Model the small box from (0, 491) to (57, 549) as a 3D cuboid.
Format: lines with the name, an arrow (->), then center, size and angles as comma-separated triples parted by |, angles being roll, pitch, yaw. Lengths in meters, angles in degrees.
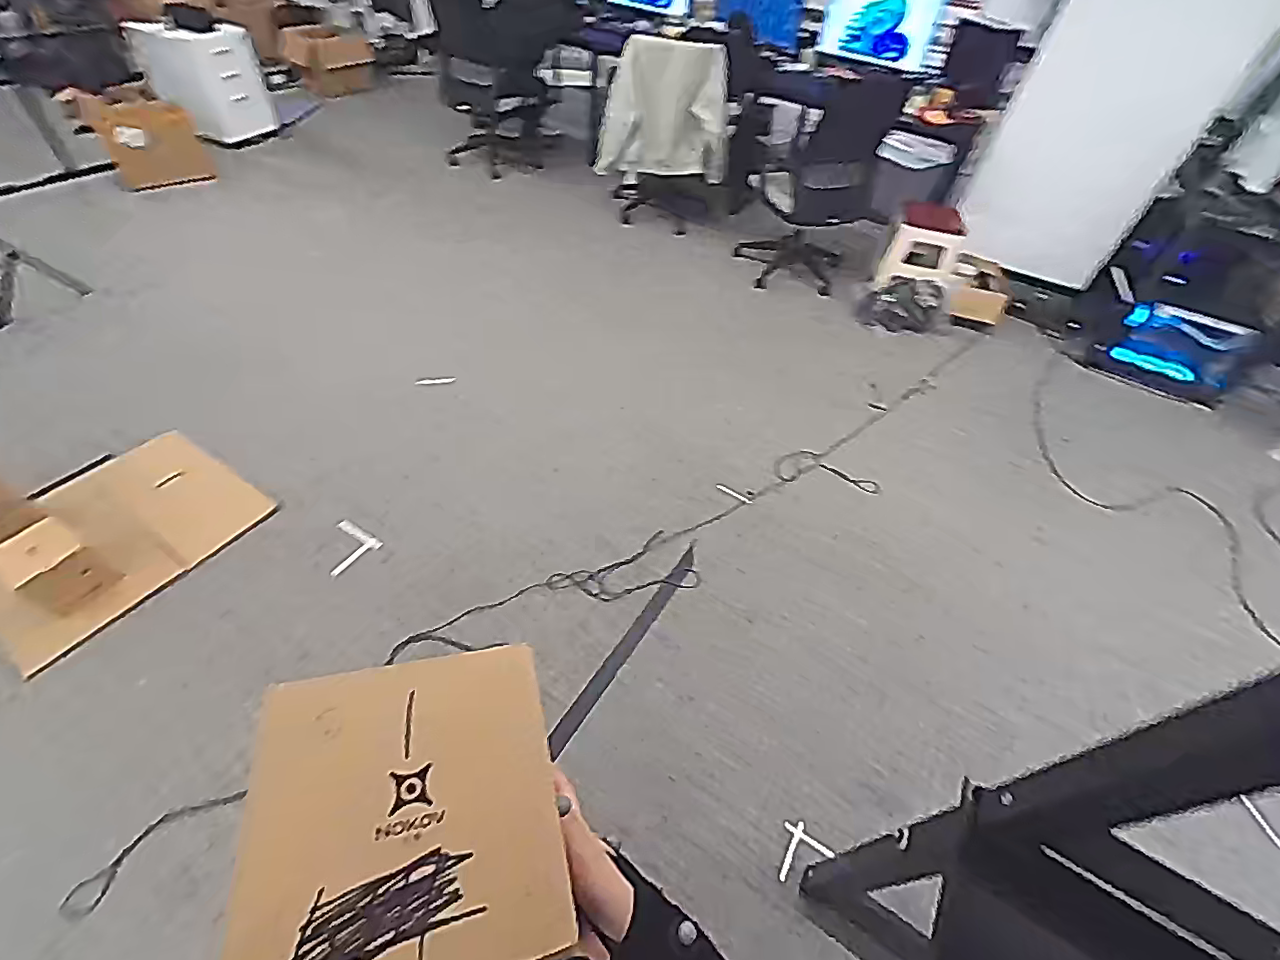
small box -> -1.836, 0.122, 1.565 | 0.179, 0.176, 0.168 | 23, 50, 13

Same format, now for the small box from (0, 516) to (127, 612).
small box -> -1.589, 0.238, 1.490 | 0.179, 0.176, 0.168 | 26, 51, 17

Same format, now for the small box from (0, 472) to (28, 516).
small box -> -1.827, 0.016, 1.439 | 0.179, 0.176, 0.168 | 24, 52, 15
